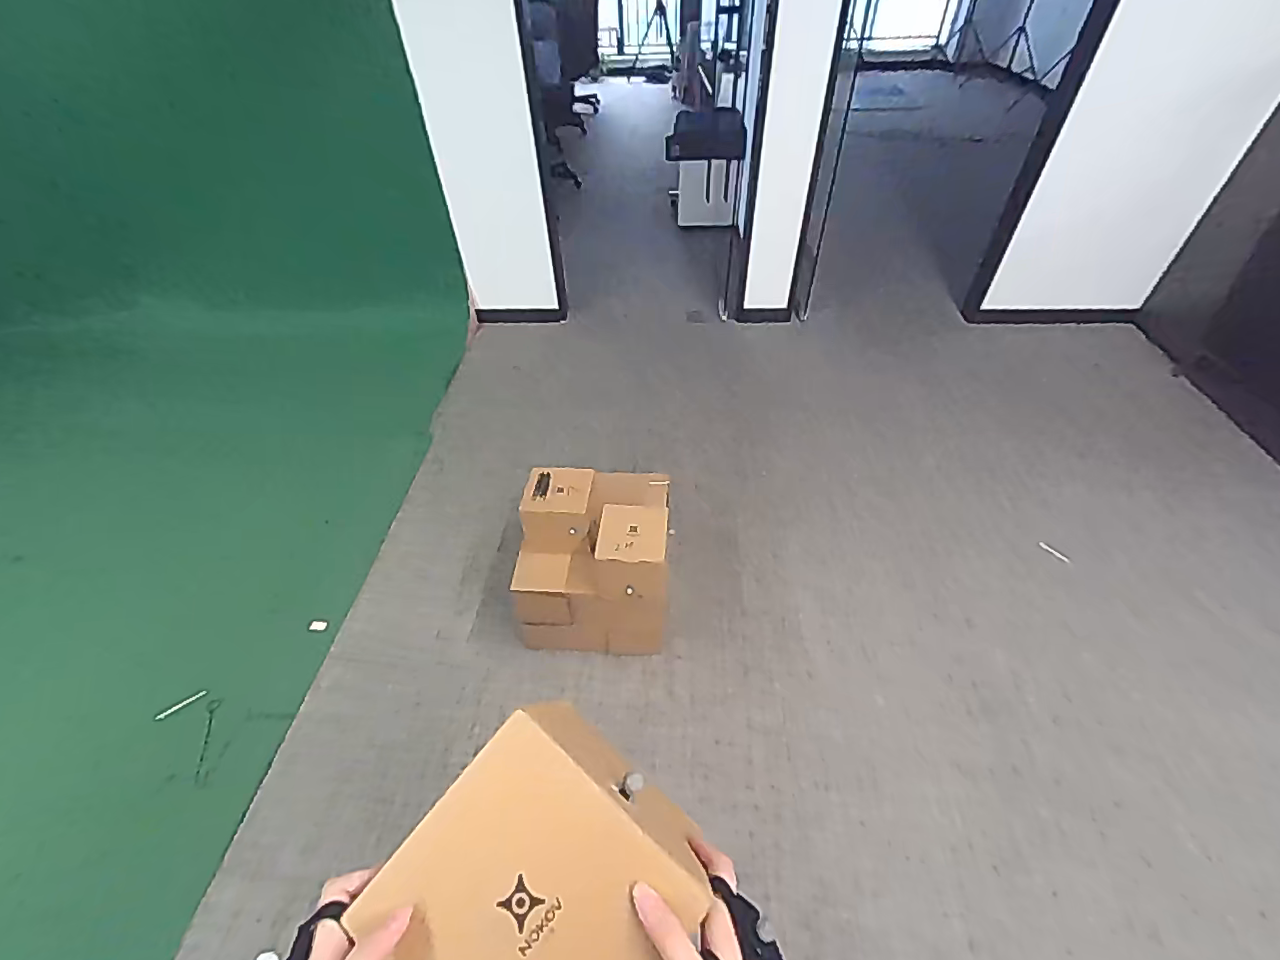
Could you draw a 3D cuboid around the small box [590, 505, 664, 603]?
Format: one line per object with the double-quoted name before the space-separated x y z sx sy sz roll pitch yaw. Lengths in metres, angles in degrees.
"small box" -0.029 0.185 1.368 0.168 0.176 0.179 3 45 4
